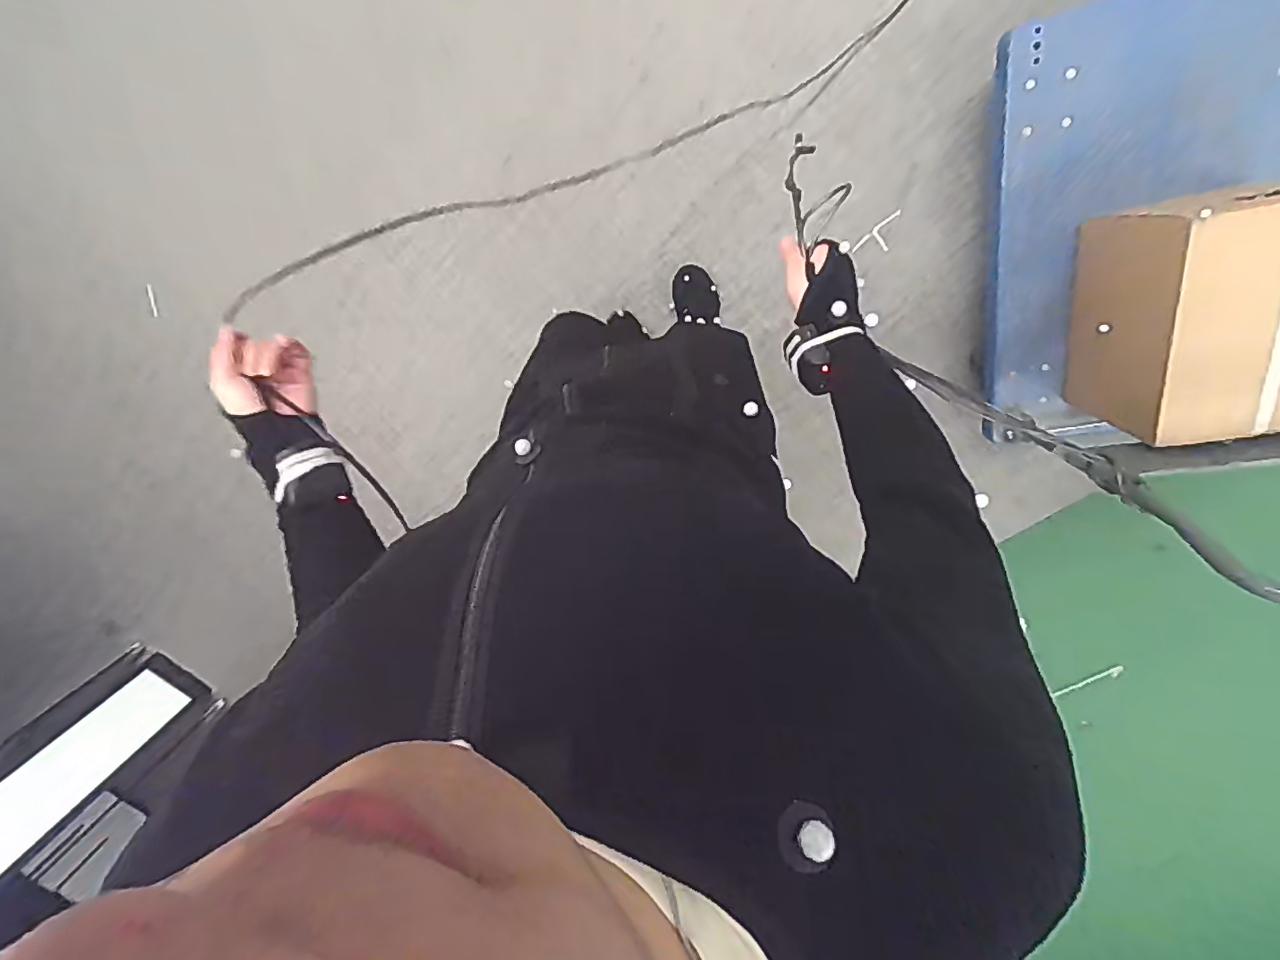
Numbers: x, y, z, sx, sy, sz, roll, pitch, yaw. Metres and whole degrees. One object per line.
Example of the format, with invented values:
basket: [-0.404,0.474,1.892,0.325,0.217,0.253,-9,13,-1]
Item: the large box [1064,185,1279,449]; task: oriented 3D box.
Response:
large box: [1.081,-0.317,1.039,0.320,0.320,0.408,-8,113,12]
